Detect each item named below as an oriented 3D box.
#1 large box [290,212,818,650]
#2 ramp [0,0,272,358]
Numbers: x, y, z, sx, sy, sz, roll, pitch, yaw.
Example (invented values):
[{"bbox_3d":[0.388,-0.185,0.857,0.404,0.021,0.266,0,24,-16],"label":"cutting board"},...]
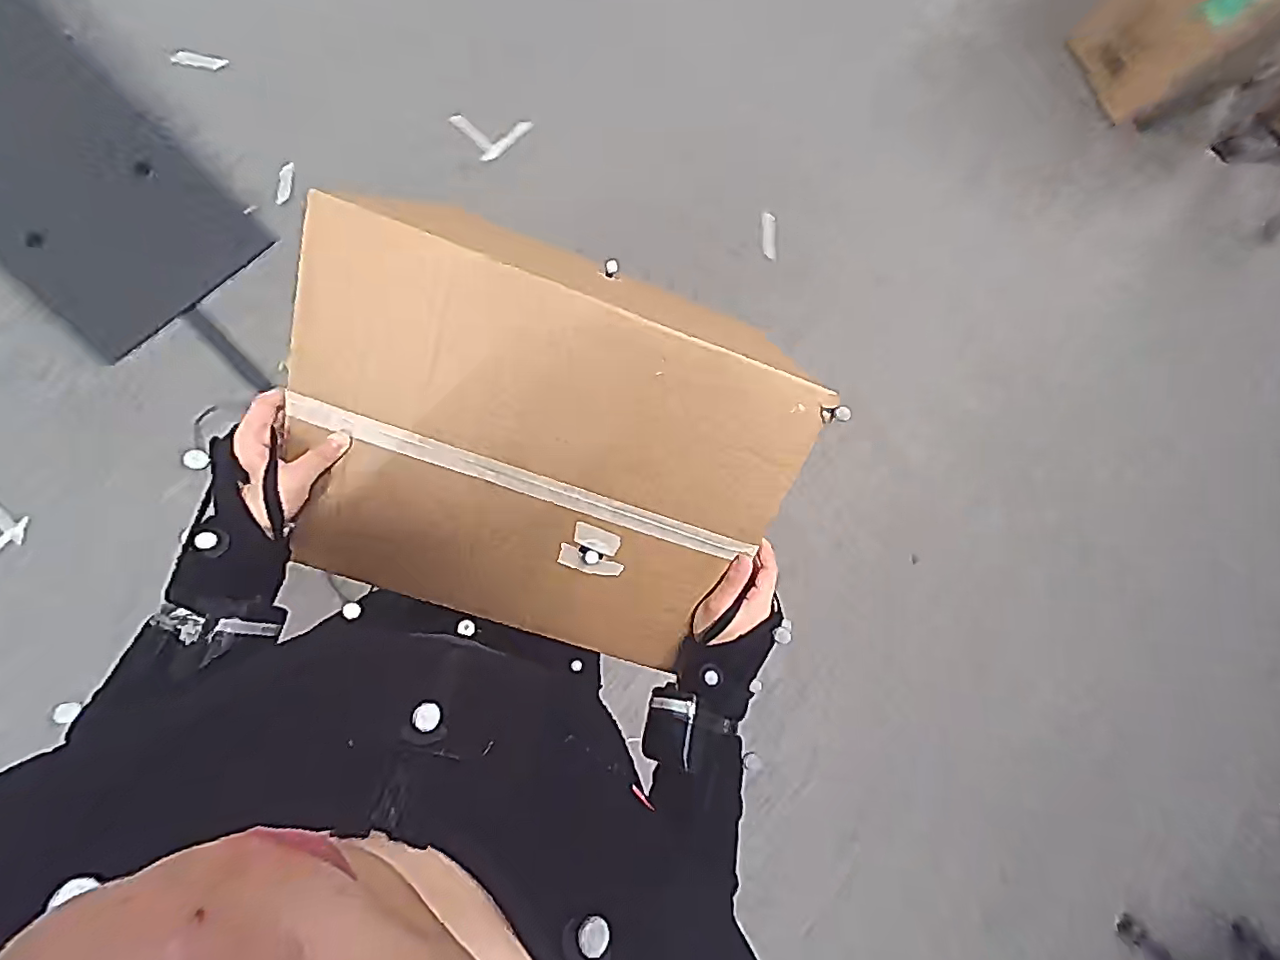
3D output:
[{"bbox_3d":[-0.094,-0.070,0.601,0.408,0.320,0.320,17,115,-9],"label":"large box"},{"bbox_3d":[-1.427,-0.810,1.238,0.991,0.206,0.509,44,78,-3],"label":"ramp"}]
